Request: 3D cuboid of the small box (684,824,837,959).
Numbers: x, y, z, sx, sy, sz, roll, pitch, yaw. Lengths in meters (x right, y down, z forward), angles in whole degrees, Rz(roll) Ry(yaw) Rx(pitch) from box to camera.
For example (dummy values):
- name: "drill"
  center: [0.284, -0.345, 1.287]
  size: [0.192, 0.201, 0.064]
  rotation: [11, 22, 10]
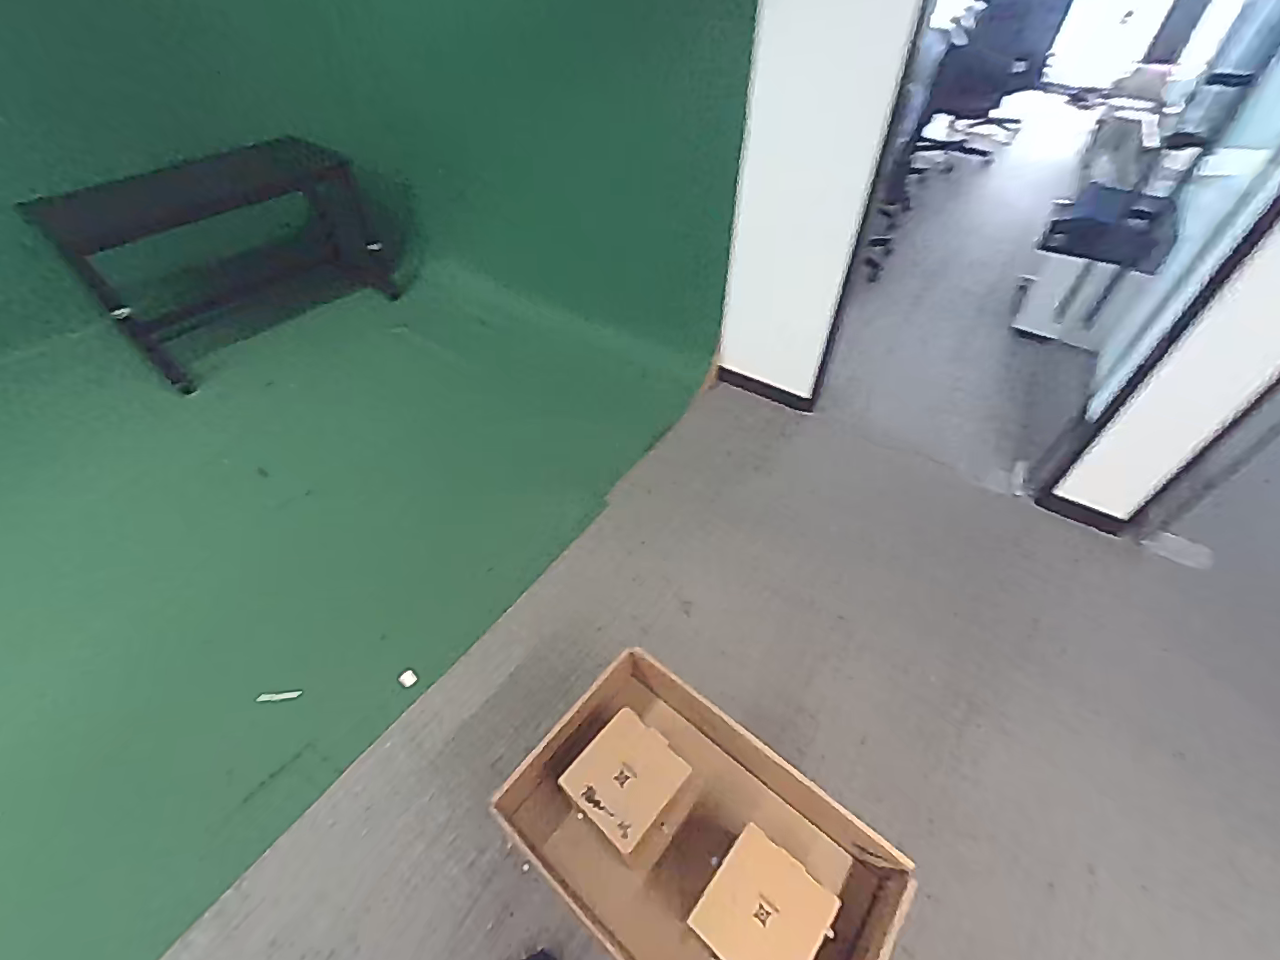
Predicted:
- name: "small box"
  center: [0.185, 0.706, 0.869]
  size: [0.168, 0.176, 0.179]
  rotation: [32, 55, 27]

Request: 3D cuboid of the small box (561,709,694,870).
- name: "small box"
  center: [-0.023, 0.569, 0.995]
  size: [0.168, 0.176, 0.179]
  rotation: [34, 56, 29]
